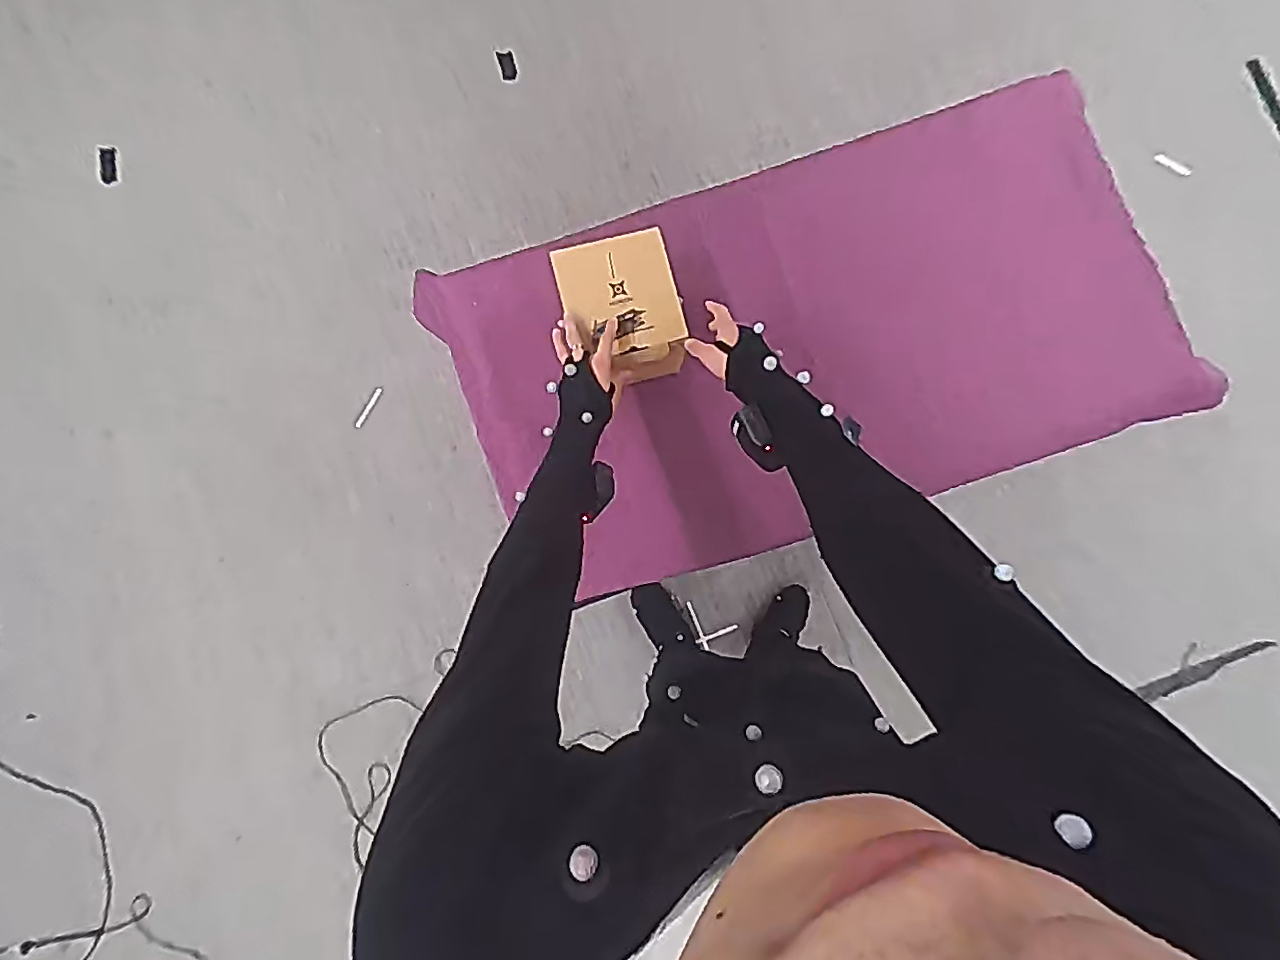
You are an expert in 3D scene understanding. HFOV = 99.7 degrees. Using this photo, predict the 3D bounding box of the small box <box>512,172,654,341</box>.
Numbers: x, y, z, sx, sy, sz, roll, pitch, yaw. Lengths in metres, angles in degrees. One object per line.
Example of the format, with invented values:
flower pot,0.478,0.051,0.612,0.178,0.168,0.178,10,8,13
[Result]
small box,-0.081,-0.322,0.820,0.168,0.176,0.179,-14,89,-3
